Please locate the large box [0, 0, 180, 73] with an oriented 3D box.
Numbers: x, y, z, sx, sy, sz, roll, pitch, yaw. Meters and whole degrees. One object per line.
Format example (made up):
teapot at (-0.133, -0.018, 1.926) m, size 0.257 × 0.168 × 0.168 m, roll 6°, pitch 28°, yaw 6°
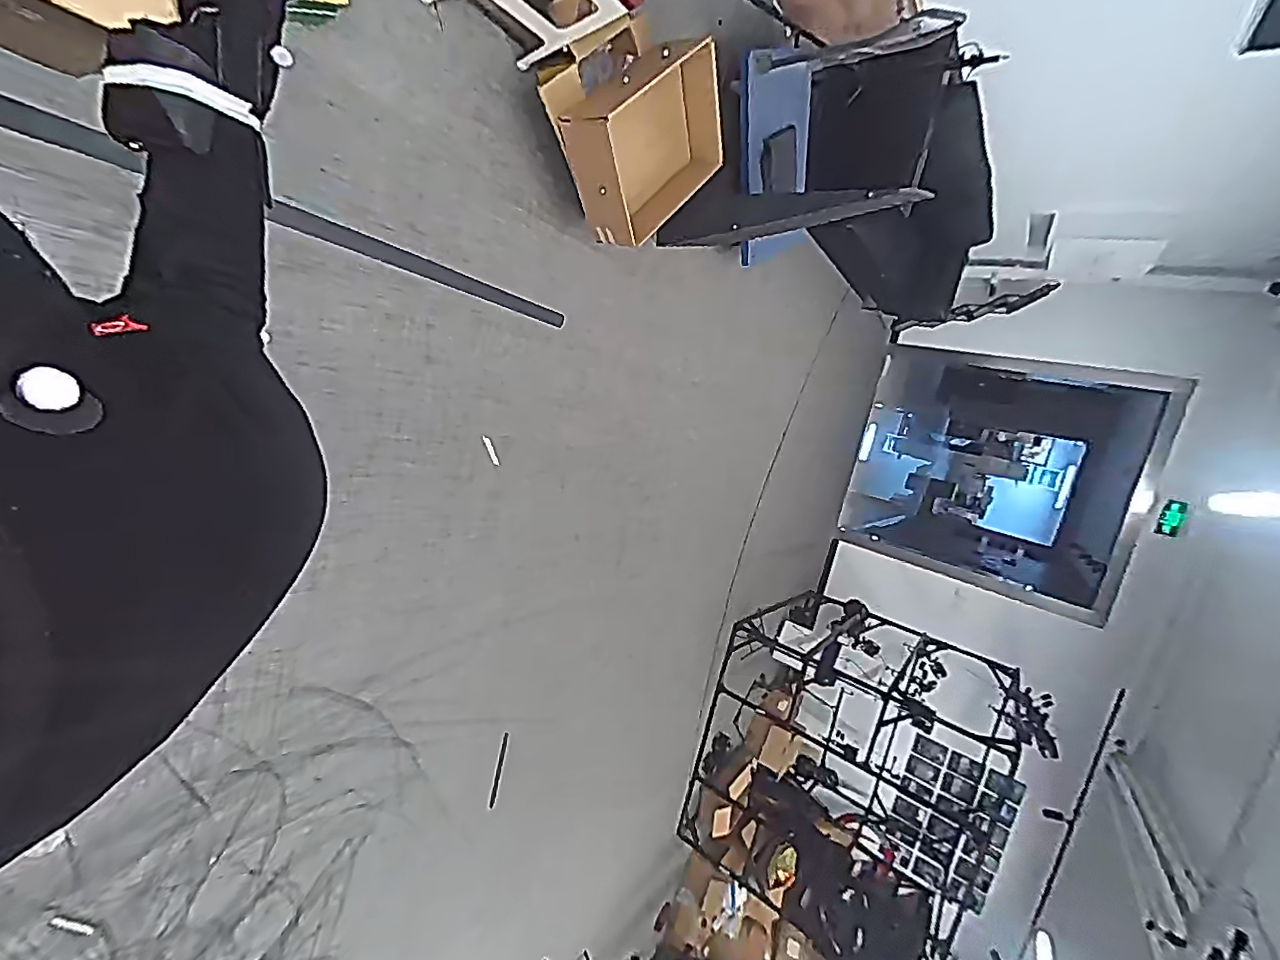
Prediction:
large box at (-0.519, -0.482, 0.263) m, size 0.408 × 0.320 × 0.320 m, roll -3°, pitch 114°, yaw -56°
